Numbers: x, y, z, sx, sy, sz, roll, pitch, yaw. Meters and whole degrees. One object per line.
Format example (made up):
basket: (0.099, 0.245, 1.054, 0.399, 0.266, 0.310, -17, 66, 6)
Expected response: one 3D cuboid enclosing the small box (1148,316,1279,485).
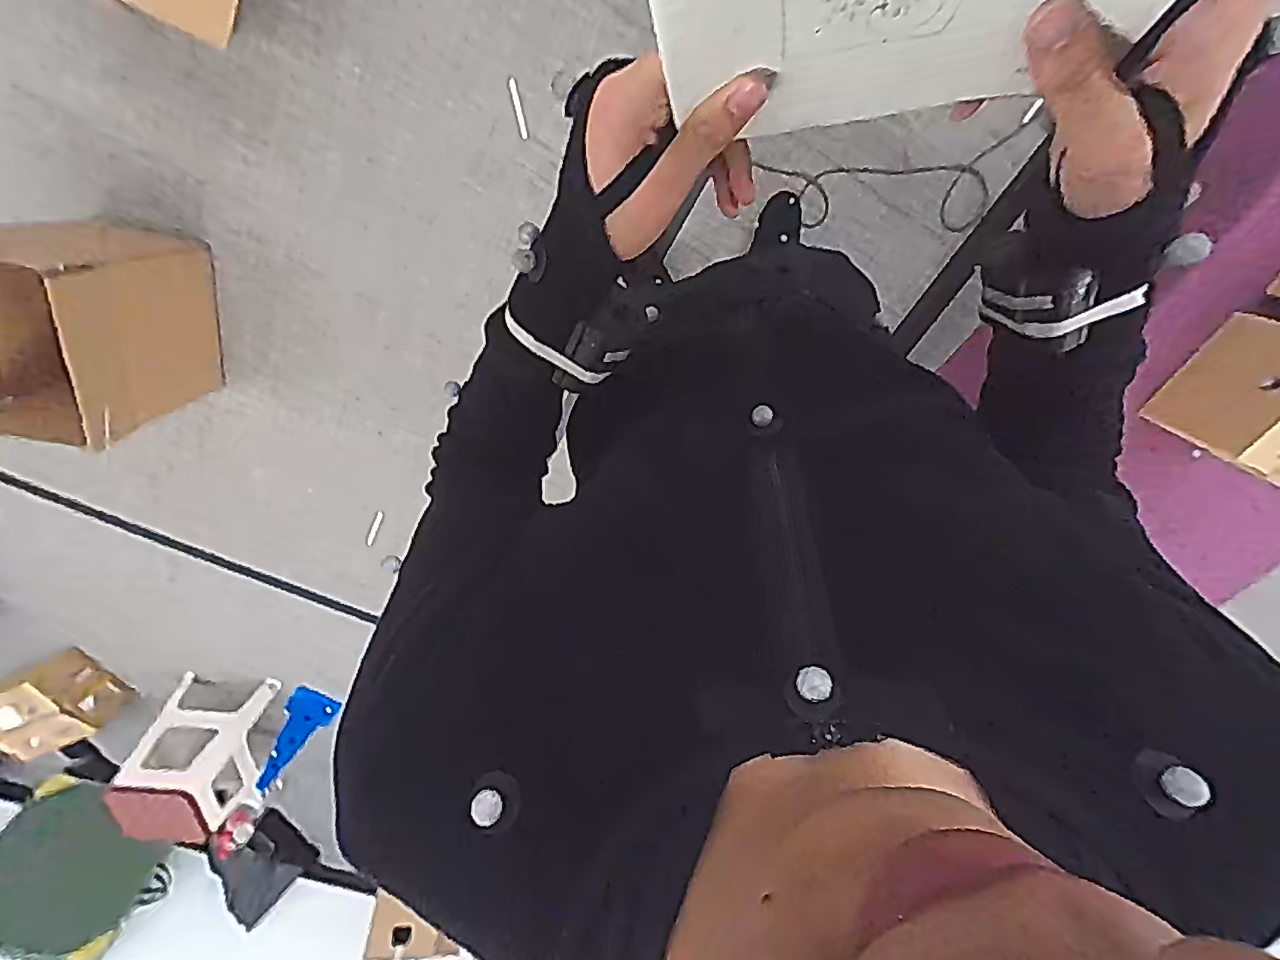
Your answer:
small box: (0.894, -0.106, 0.757, 0.168, 0.176, 0.179, 23, 117, -11)
